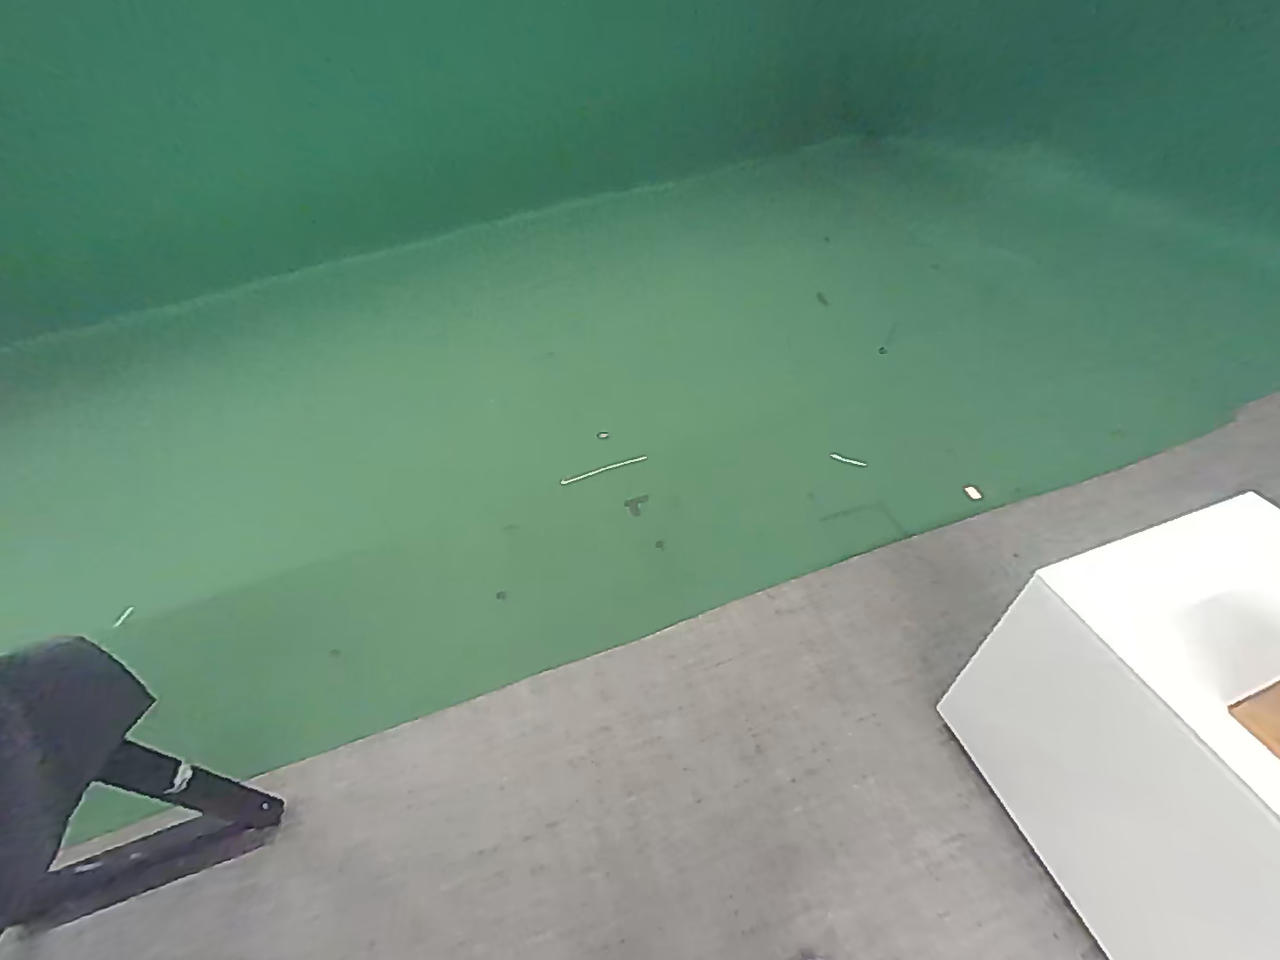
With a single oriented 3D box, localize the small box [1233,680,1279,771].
[{"bbox_3d":[0.800,0.258,0.554,0.179,0.176,0.168,-19,48,-8],"label":"small box"}]
